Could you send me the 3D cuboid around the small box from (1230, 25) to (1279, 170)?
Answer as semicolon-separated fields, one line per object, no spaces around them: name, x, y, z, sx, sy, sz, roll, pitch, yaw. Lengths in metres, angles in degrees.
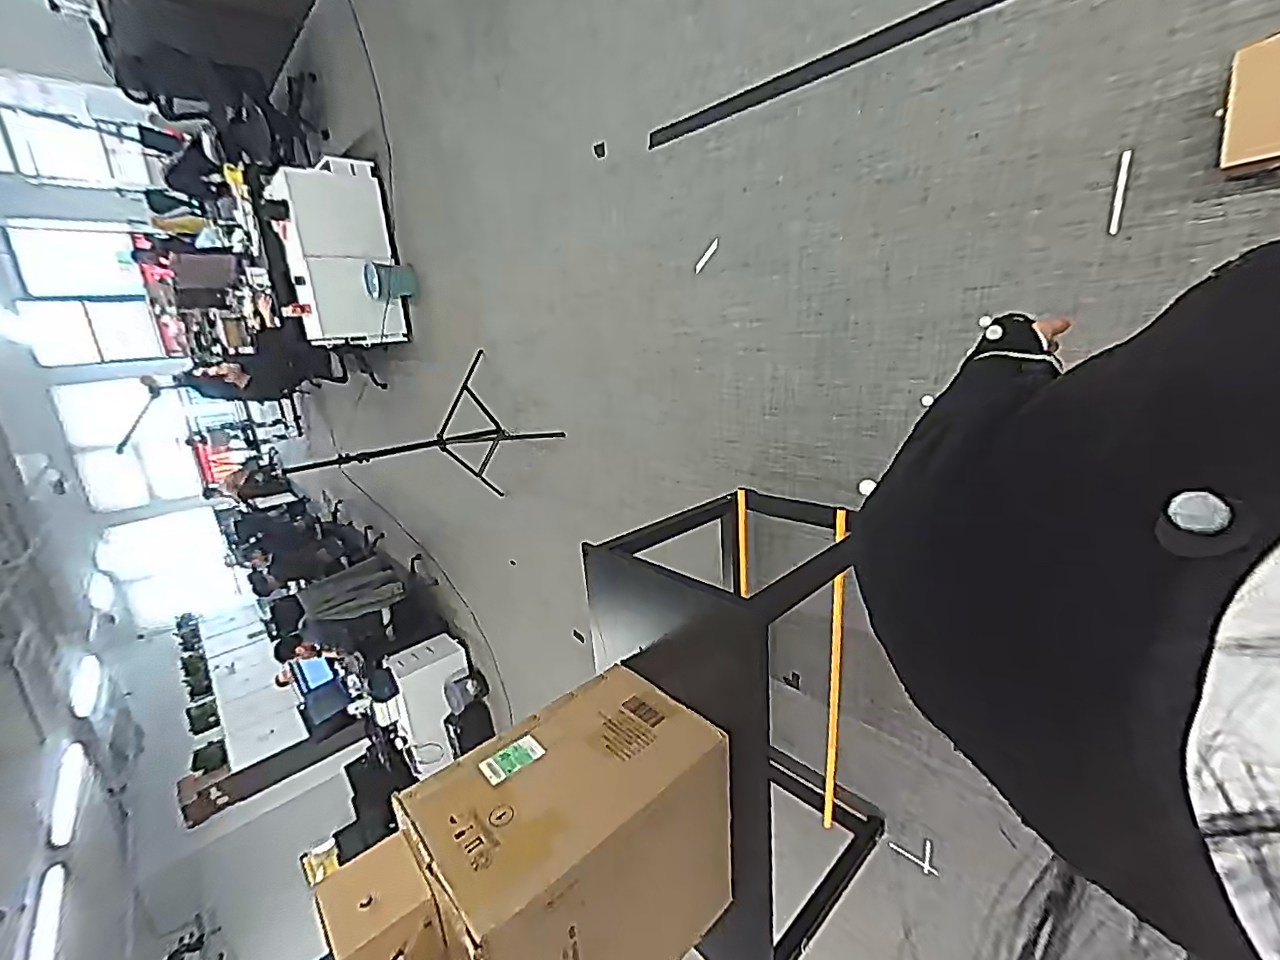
small box;1.049;-0.605;0.835;0.168;0.176;0.179;9;112;49

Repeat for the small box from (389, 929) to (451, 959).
small box;-0.458;1.097;1.108;0.168;0.176;0.179;15;114;47
